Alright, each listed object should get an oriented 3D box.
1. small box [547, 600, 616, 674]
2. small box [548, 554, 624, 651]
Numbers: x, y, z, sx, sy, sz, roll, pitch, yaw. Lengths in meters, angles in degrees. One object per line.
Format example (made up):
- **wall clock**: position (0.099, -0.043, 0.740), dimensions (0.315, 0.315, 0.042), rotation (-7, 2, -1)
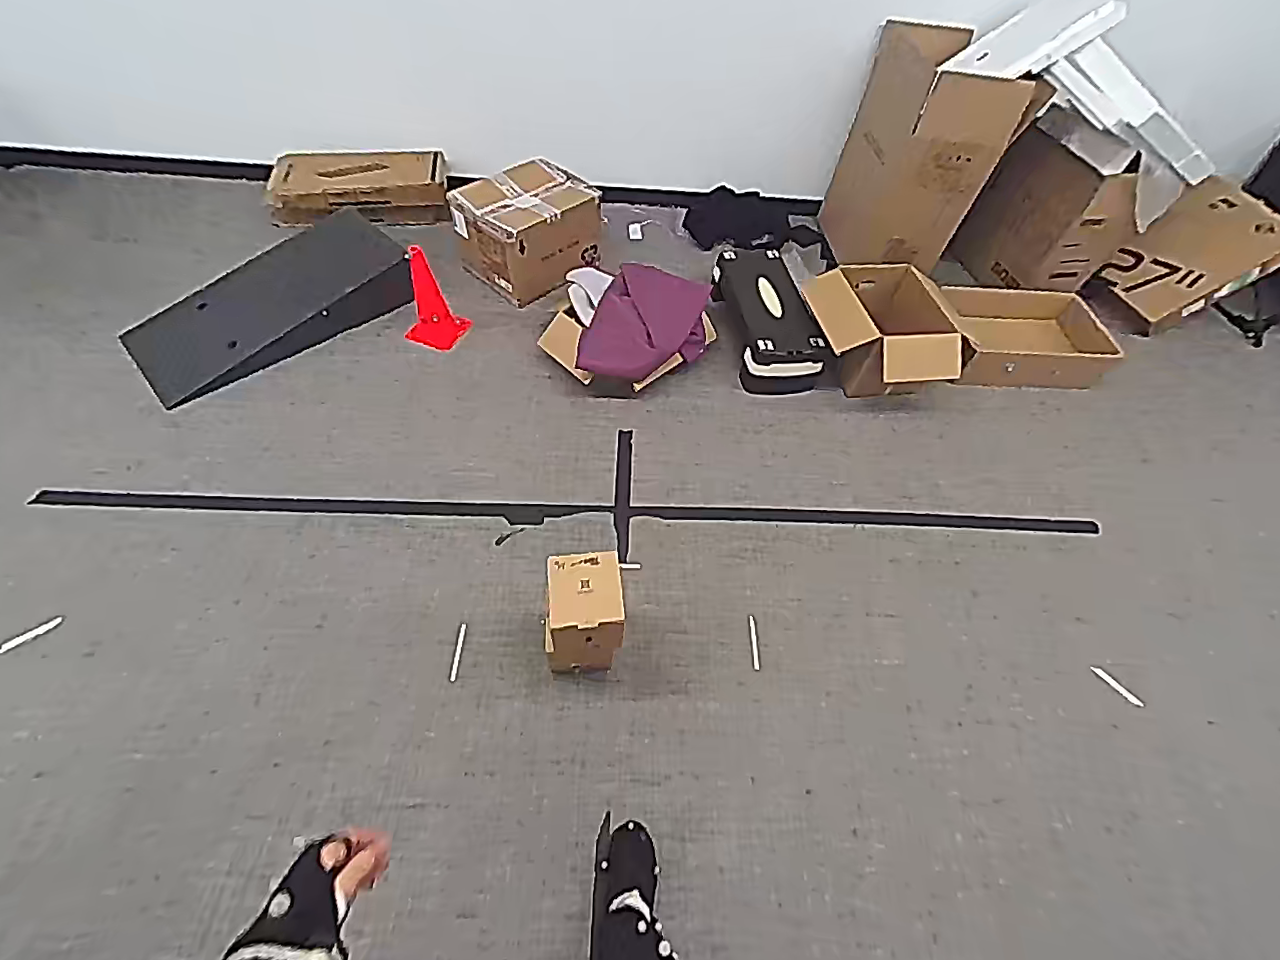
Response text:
- **small box**: position (-0.153, 0.389, 1.408), dimensions (0.168, 0.176, 0.179), rotation (-4, 56, -6)
- **small box**: position (-0.126, 0.294, 1.275), dimensions (0.168, 0.176, 0.179), rotation (-4, 55, -6)
